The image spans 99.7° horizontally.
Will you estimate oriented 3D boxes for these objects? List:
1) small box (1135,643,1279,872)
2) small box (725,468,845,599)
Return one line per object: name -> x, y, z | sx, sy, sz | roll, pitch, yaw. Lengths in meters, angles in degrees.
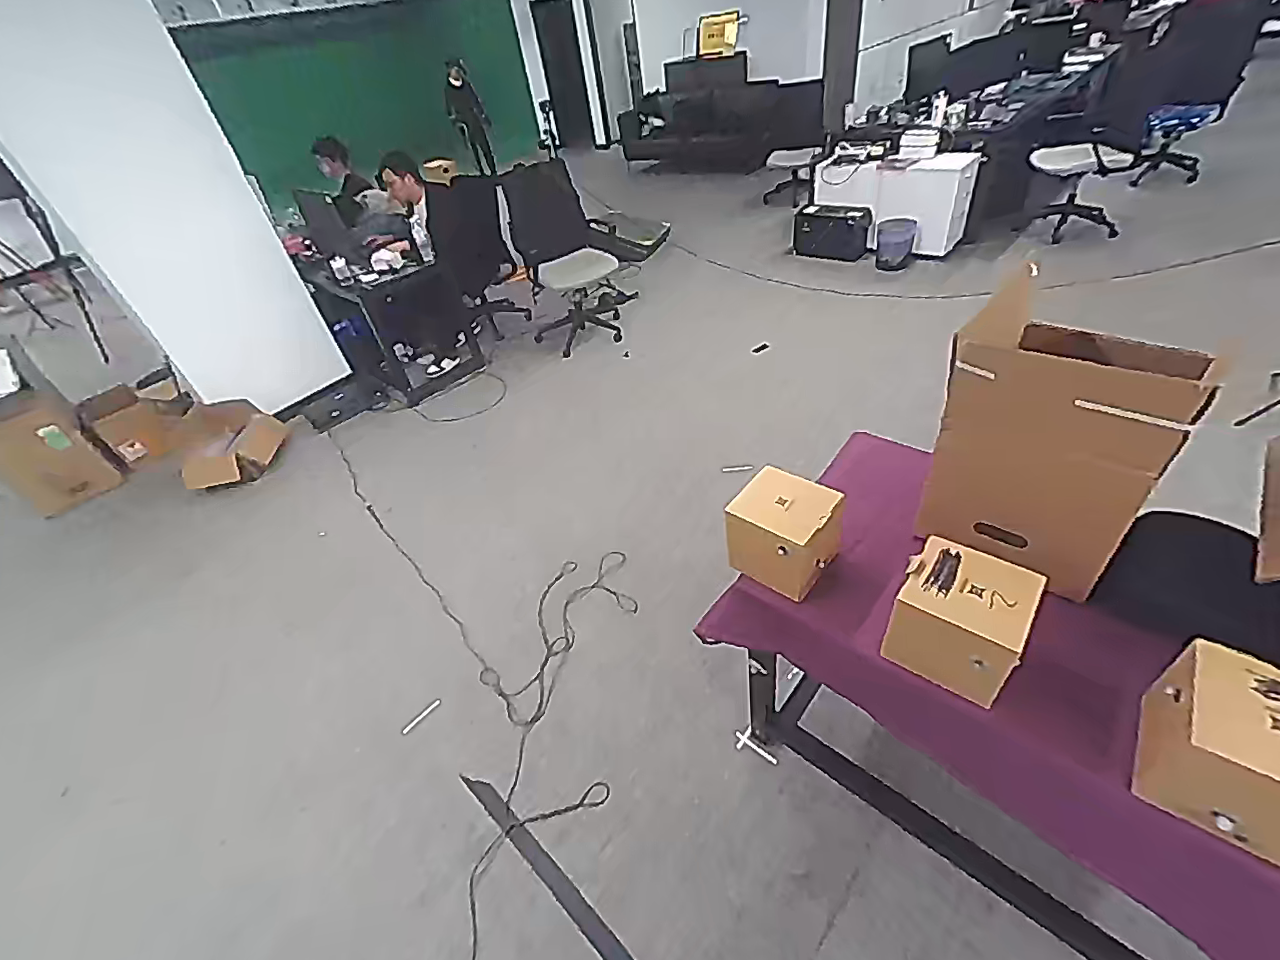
small box -> 0.786, 0.356, 0.701 | 0.168, 0.176, 0.179 | 21, 50, 33
small box -> 0.290, 0.110, 1.102 | 0.179, 0.176, 0.168 | 26, 51, 34
